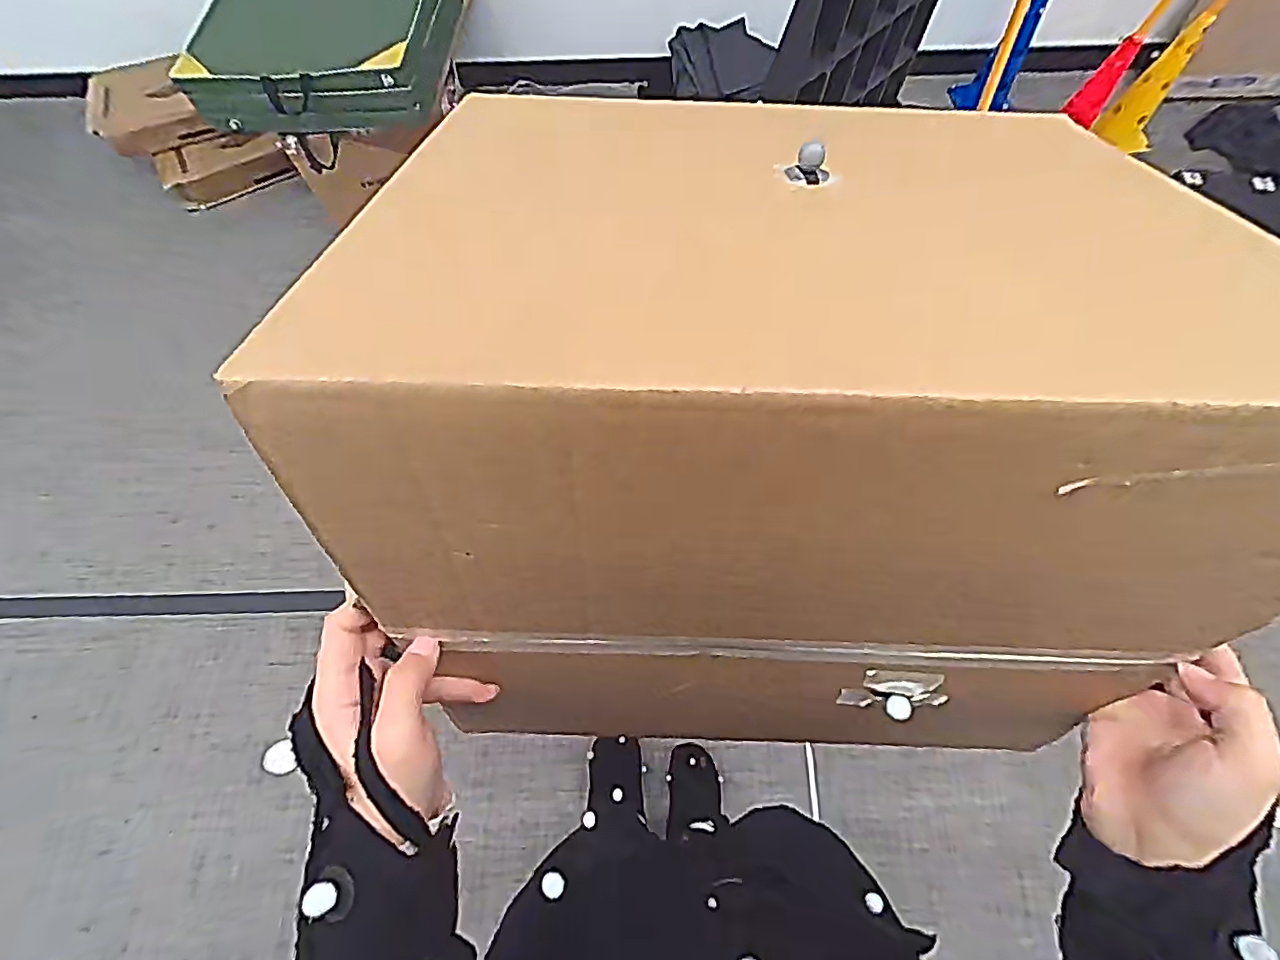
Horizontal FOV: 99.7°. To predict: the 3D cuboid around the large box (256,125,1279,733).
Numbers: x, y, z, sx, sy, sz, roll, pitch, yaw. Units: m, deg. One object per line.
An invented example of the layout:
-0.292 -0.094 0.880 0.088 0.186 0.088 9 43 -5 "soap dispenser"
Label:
0.072 -0.030 0.380 0.408 0.320 0.320 0 49 0 "large box"
